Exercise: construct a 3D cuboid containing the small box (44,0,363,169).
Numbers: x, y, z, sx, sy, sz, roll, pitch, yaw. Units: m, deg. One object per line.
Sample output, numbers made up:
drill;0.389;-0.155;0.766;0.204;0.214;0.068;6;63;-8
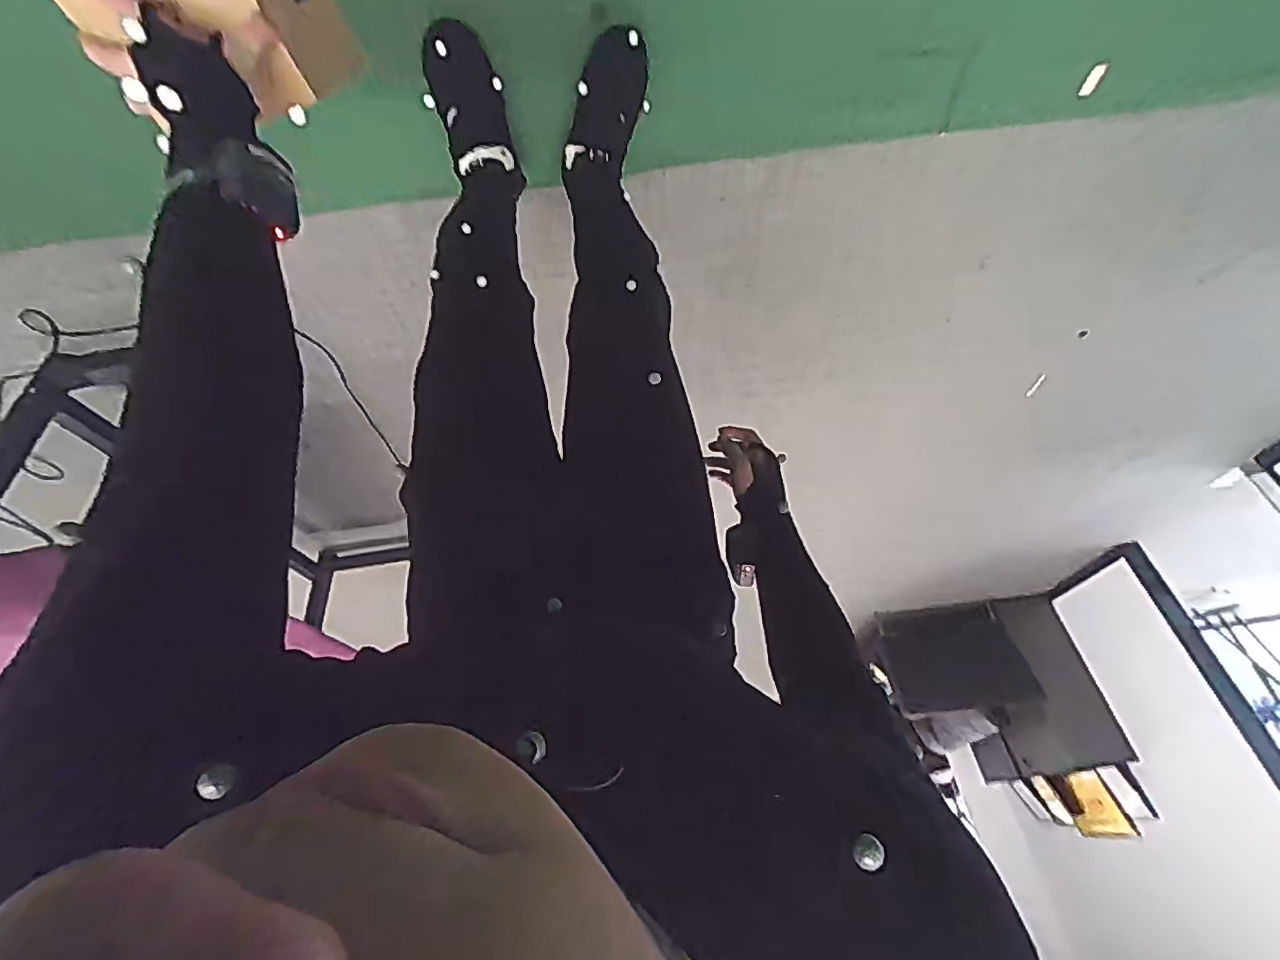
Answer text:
small box;-0.420;-0.452;0.541;0.168;0.176;0.179;-13;135;11
